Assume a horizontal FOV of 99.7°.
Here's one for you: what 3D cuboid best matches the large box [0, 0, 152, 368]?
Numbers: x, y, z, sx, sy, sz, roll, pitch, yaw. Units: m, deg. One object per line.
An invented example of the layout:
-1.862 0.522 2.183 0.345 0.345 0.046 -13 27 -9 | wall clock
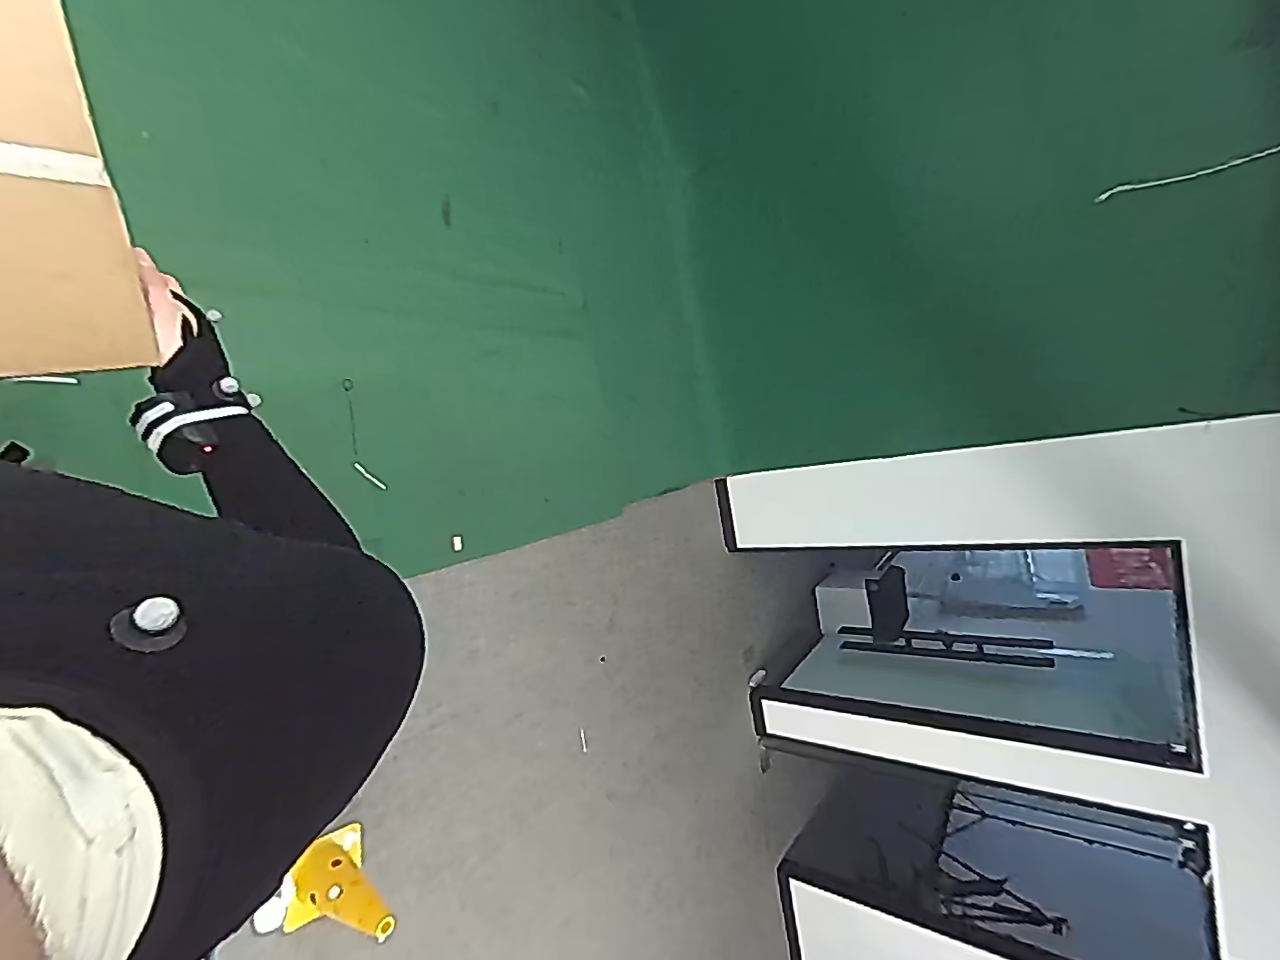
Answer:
-0.683 -0.229 0.372 0.408 0.320 0.320 -26 121 -52 | large box
